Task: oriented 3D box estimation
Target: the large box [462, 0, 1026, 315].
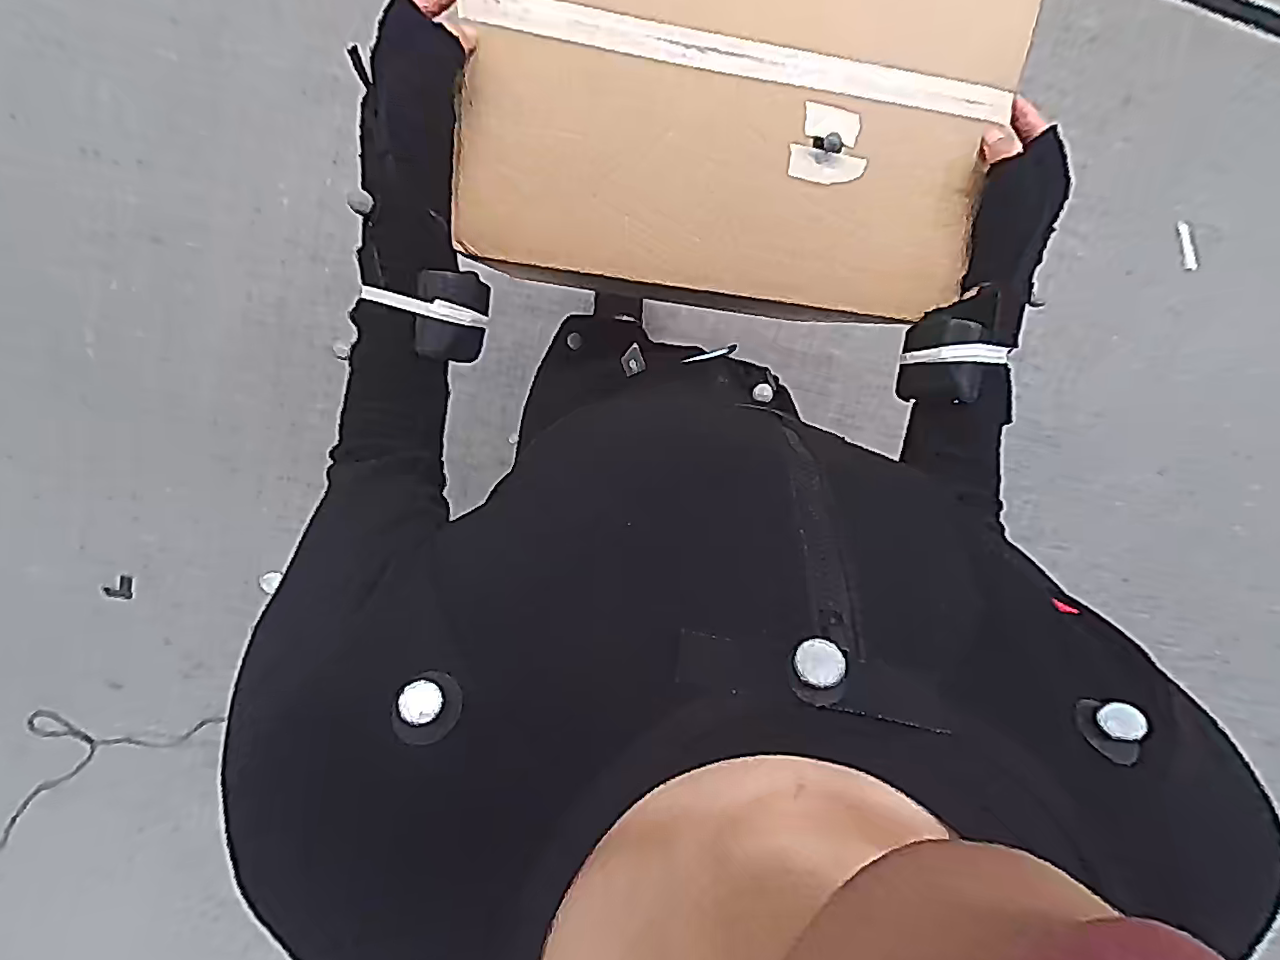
[{"bbox_3d":[0.061,-0.347,0.533,0.408,0.320,0.320,6,107,-8],"label":"large box"}]
